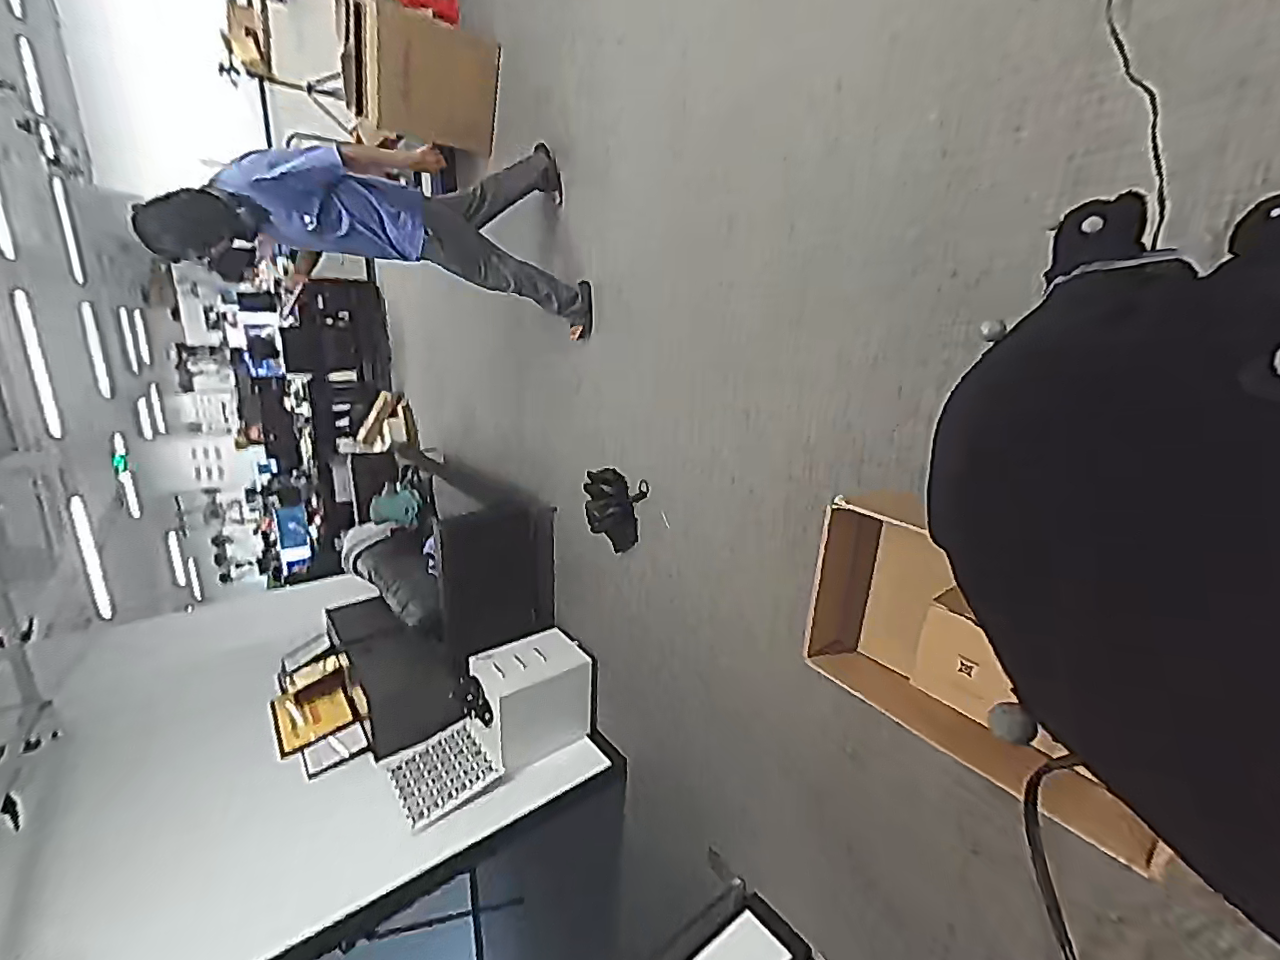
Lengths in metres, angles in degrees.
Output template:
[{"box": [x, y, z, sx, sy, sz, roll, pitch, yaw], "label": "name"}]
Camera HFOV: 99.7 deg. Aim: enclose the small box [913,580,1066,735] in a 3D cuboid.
[{"box": [0.619, 0.300, 0.959, 0.168, 0.176, 0.179, 24, 119, 50], "label": "small box"}]
